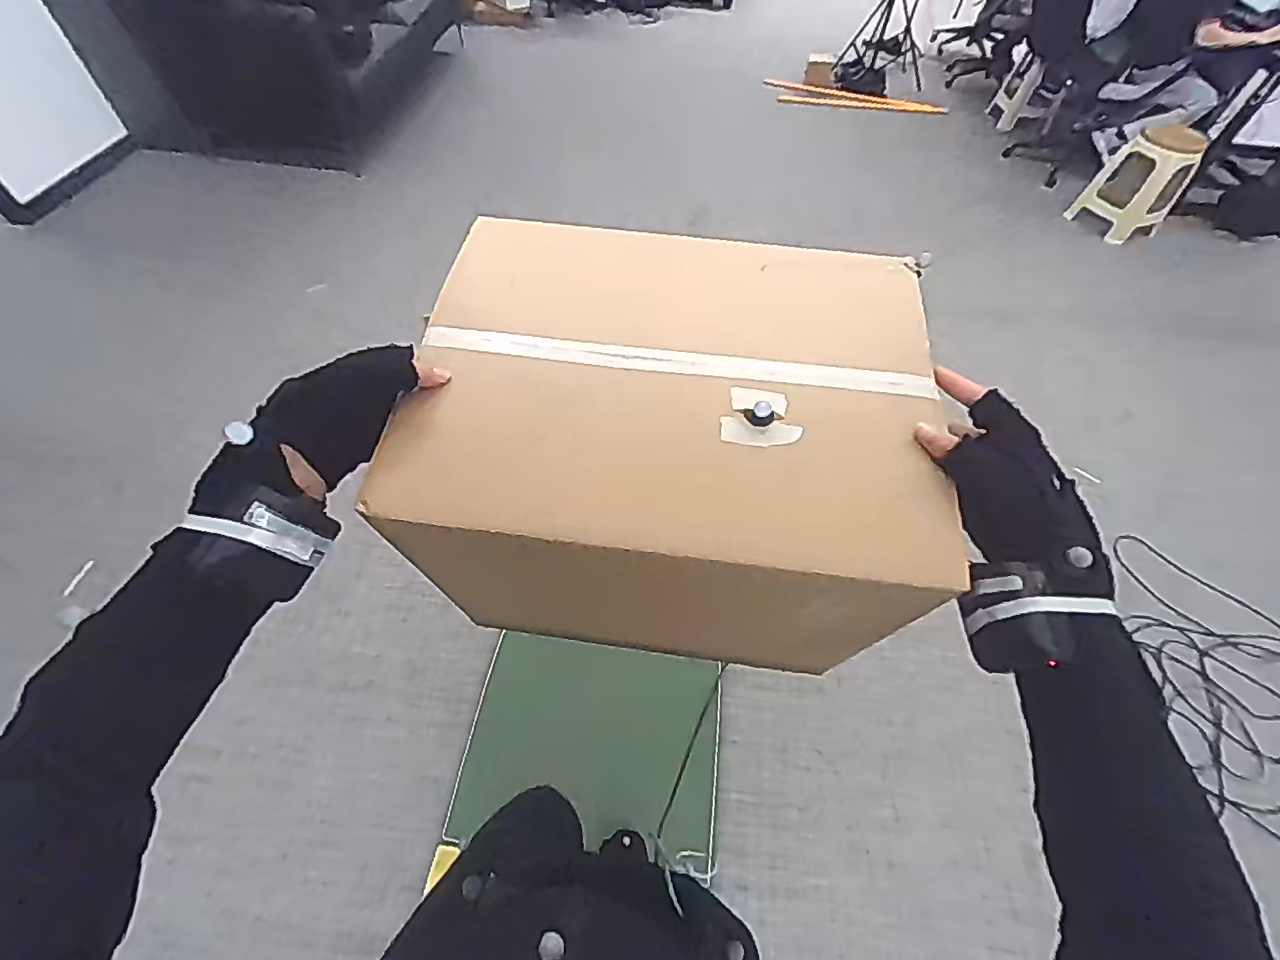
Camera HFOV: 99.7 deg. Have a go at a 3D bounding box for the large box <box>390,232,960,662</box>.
[{"bbox_3d":[0.032,-0.015,0.571,0.408,0.320,0.320,7,61,2],"label":"large box"}]
